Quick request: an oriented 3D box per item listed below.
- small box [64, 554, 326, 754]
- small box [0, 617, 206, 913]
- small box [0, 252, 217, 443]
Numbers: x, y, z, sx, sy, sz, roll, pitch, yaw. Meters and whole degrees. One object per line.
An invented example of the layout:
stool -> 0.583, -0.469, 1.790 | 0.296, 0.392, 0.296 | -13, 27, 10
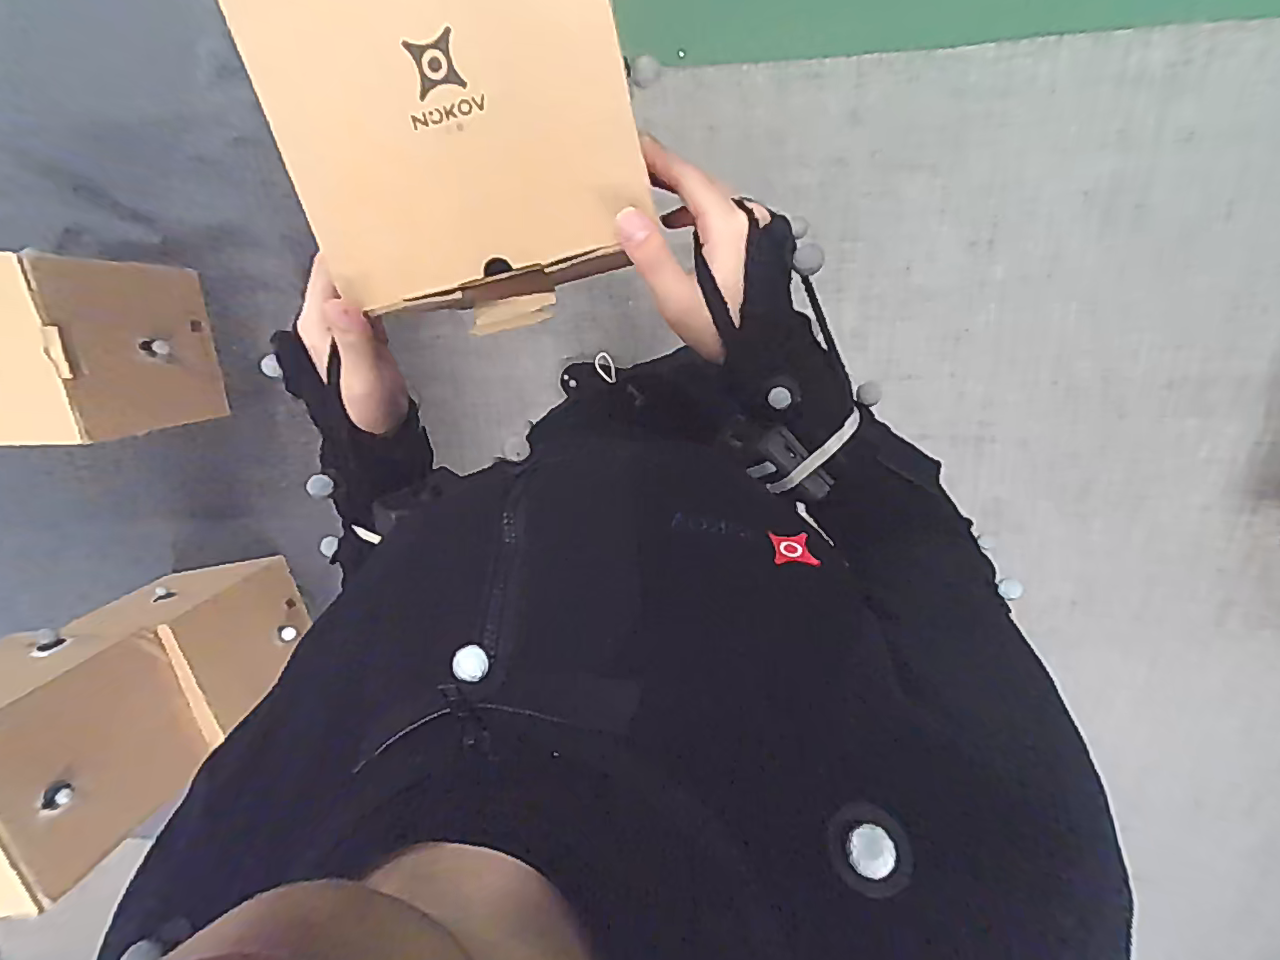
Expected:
small box -> -0.528, 0.205, 0.650 | 0.179, 0.176, 0.168 | -11, 106, 7
small box -> -0.556, 0.250, 0.495 | 0.168, 0.176, 0.179 | -7, 105, 5
small box -> -0.580, -0.136, 0.550 | 0.179, 0.176, 0.168 | 0, 107, 4
